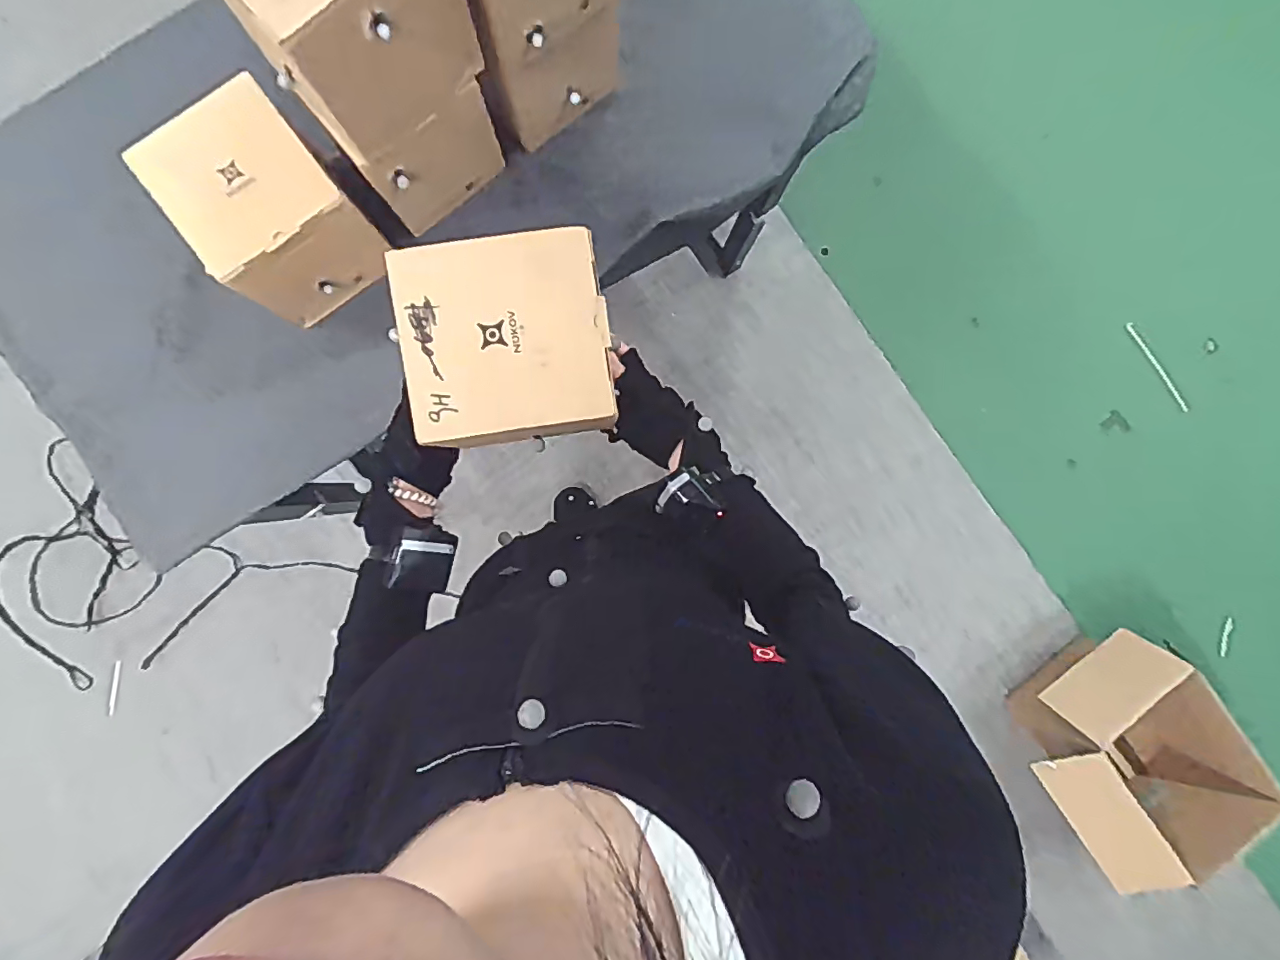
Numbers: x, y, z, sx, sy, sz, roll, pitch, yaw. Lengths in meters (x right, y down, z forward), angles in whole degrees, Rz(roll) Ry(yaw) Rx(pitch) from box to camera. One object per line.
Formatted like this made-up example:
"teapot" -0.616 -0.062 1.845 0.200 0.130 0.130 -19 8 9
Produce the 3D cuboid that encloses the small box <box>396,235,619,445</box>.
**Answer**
"small box" -0.121 -0.127 0.550 0.179 0.176 0.168 -7 92 -4
